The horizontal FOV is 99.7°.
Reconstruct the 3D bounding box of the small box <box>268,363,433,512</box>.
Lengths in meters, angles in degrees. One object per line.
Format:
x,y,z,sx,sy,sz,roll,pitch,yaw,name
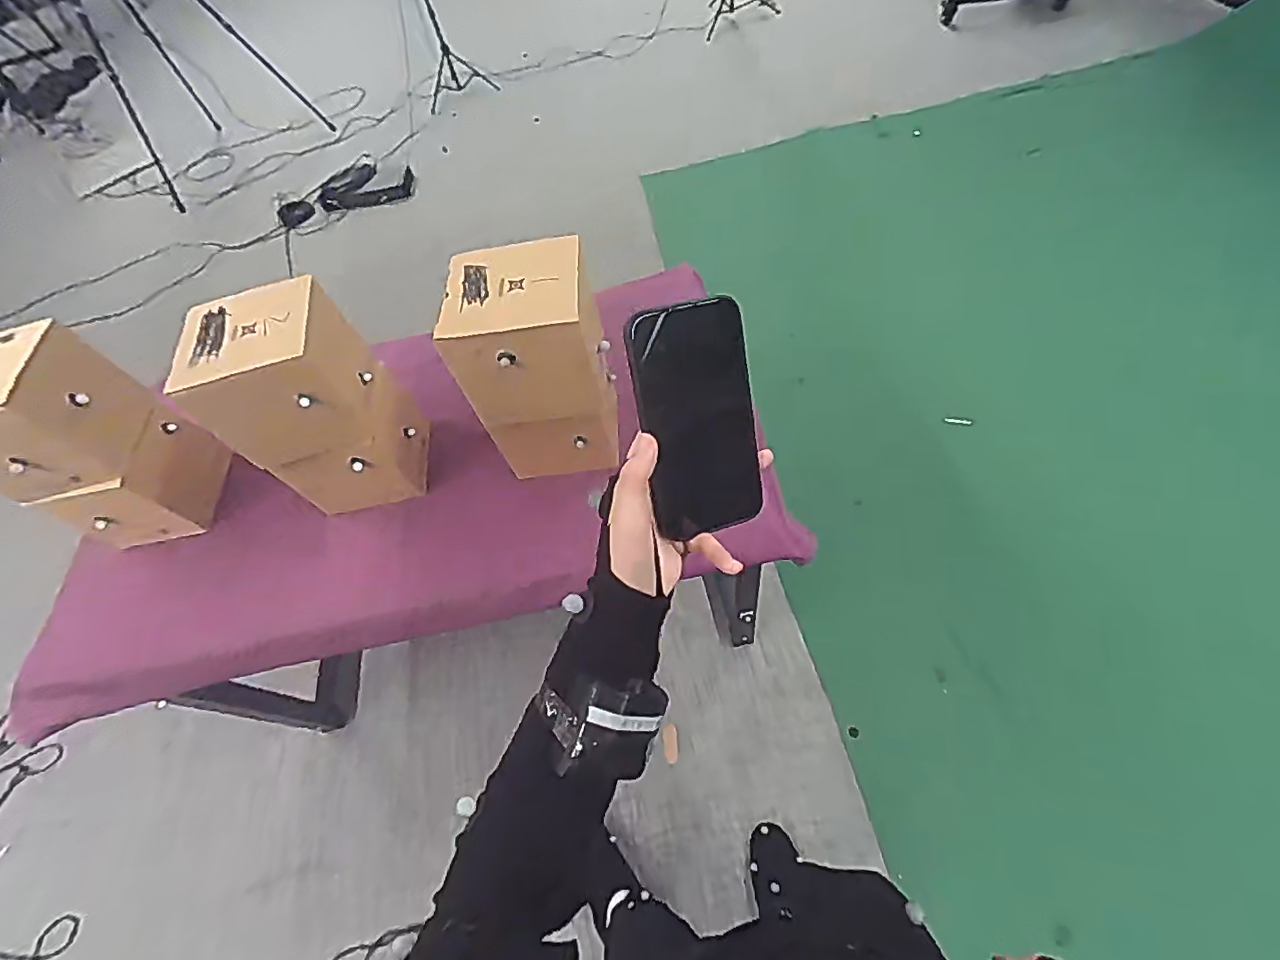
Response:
-0.466,-0.065,0.904,0.179,0.176,0.168,-12,57,3,small box

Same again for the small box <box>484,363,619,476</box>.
-0.131,-0.123,0.879,0.179,0.176,0.168,-7,57,7,small box

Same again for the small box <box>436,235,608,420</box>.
-0.146,-0.198,0.734,0.179,0.176,0.168,-7,57,6,small box

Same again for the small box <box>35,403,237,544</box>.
-0.850,-0.002,0.937,0.168,0.176,0.179,-11,57,3,small box

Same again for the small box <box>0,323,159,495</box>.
-0.877,-0.095,0.804,0.168,0.176,0.179,-15,58,0,small box
